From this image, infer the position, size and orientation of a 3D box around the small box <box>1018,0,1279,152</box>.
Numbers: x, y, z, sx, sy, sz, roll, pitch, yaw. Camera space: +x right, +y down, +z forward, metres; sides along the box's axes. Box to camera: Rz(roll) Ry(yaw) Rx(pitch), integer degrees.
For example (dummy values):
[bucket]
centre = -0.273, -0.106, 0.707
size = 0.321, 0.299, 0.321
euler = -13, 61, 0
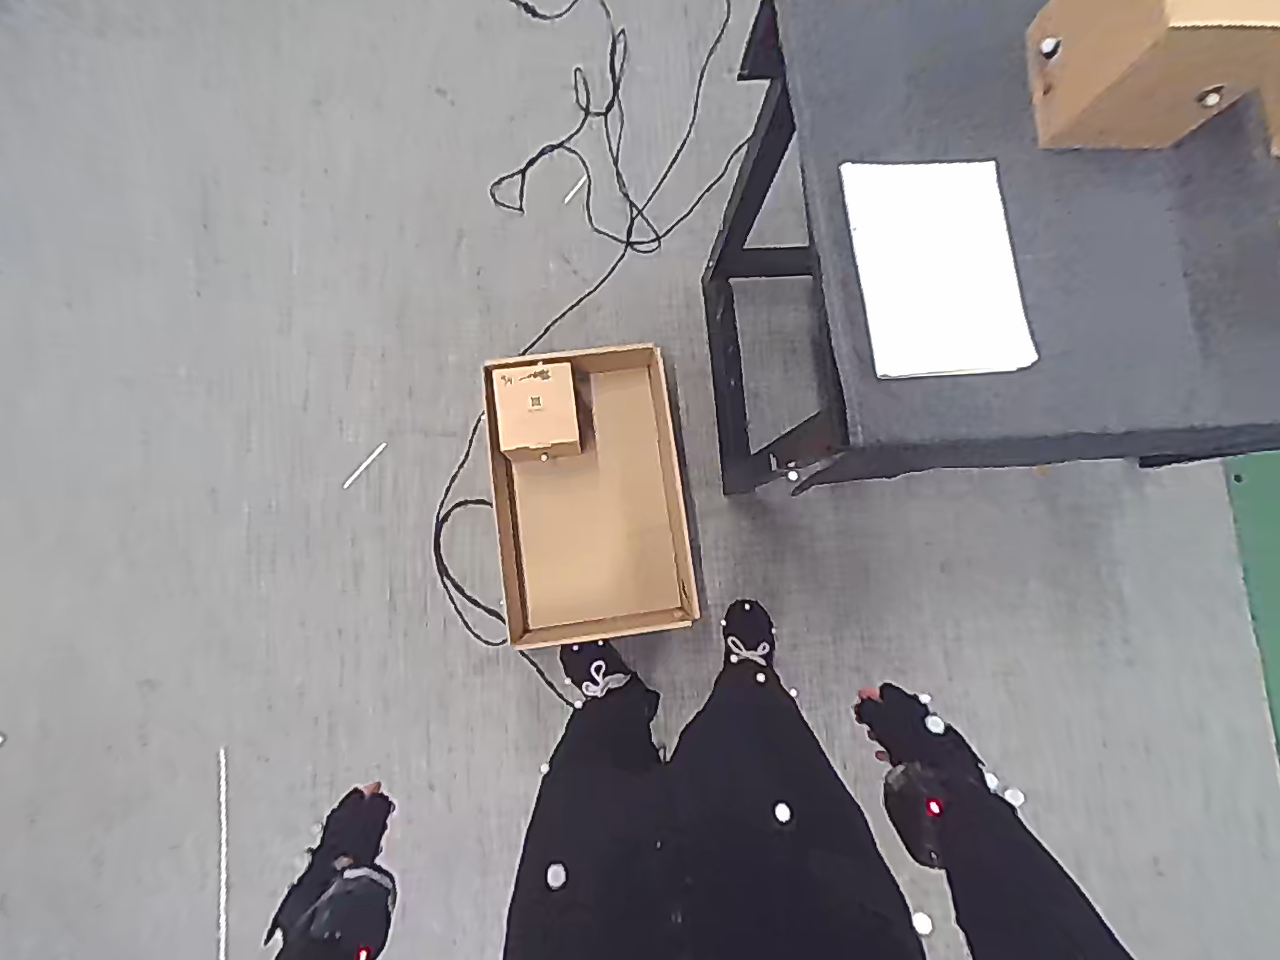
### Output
[small box]
centre = 0.587, -0.511, 0.625
size = 0.179, 0.176, 0.168
euler = -1, 83, -5
